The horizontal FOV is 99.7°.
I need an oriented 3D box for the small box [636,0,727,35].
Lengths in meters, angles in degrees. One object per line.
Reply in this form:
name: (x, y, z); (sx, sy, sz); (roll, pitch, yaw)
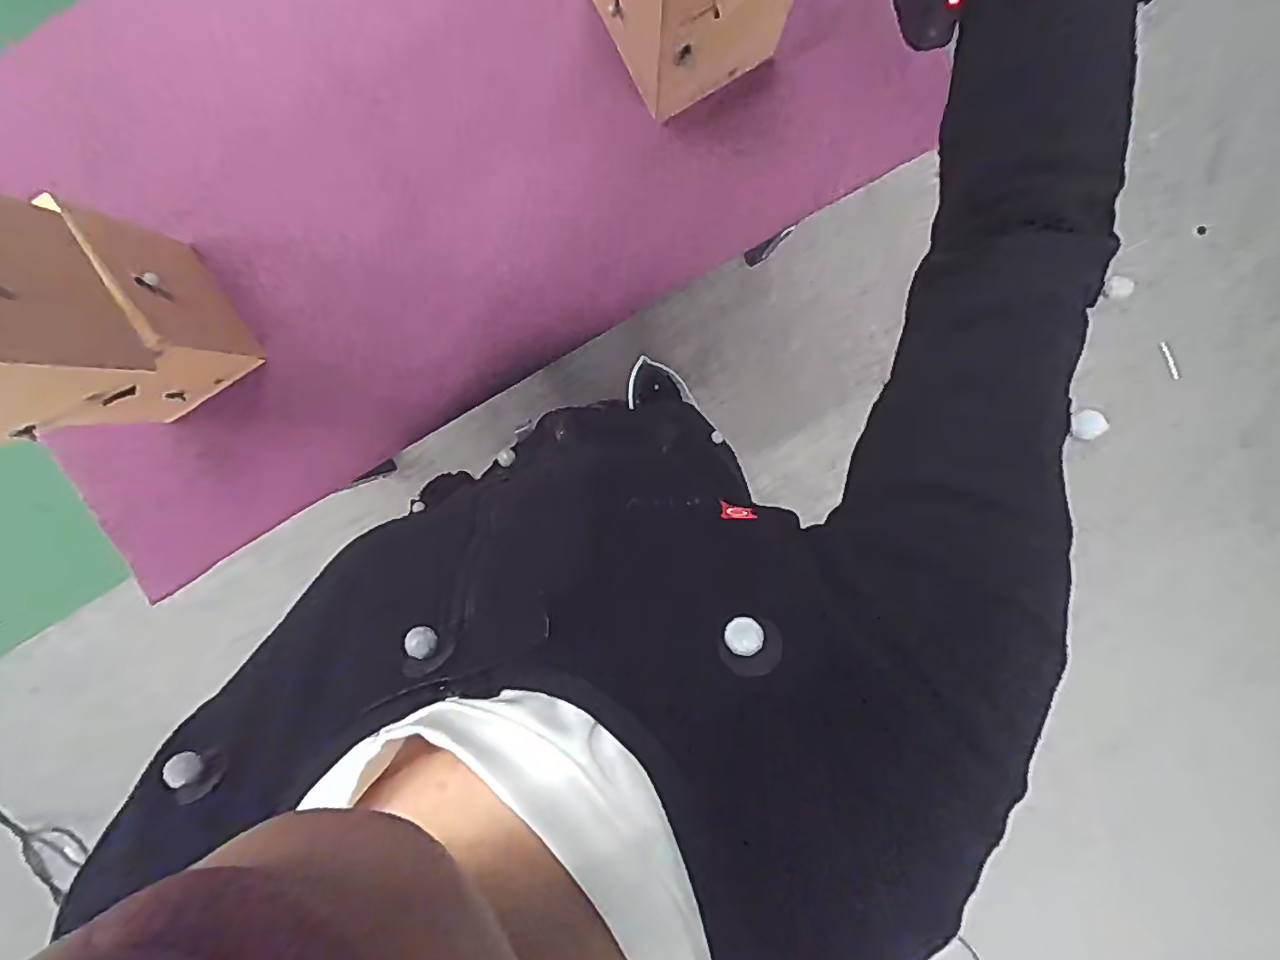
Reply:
small box: (0.043, -0.519, 0.421); (0.168, 0.176, 0.179); (-32, 97, 5)

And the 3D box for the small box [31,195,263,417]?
small box: (-0.606, -0.185, 0.634); (0.168, 0.176, 0.179); (-31, 99, 3)

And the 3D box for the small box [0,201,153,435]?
small box: (-0.603, -0.141, 0.475); (0.168, 0.176, 0.179); (-26, 98, 2)
